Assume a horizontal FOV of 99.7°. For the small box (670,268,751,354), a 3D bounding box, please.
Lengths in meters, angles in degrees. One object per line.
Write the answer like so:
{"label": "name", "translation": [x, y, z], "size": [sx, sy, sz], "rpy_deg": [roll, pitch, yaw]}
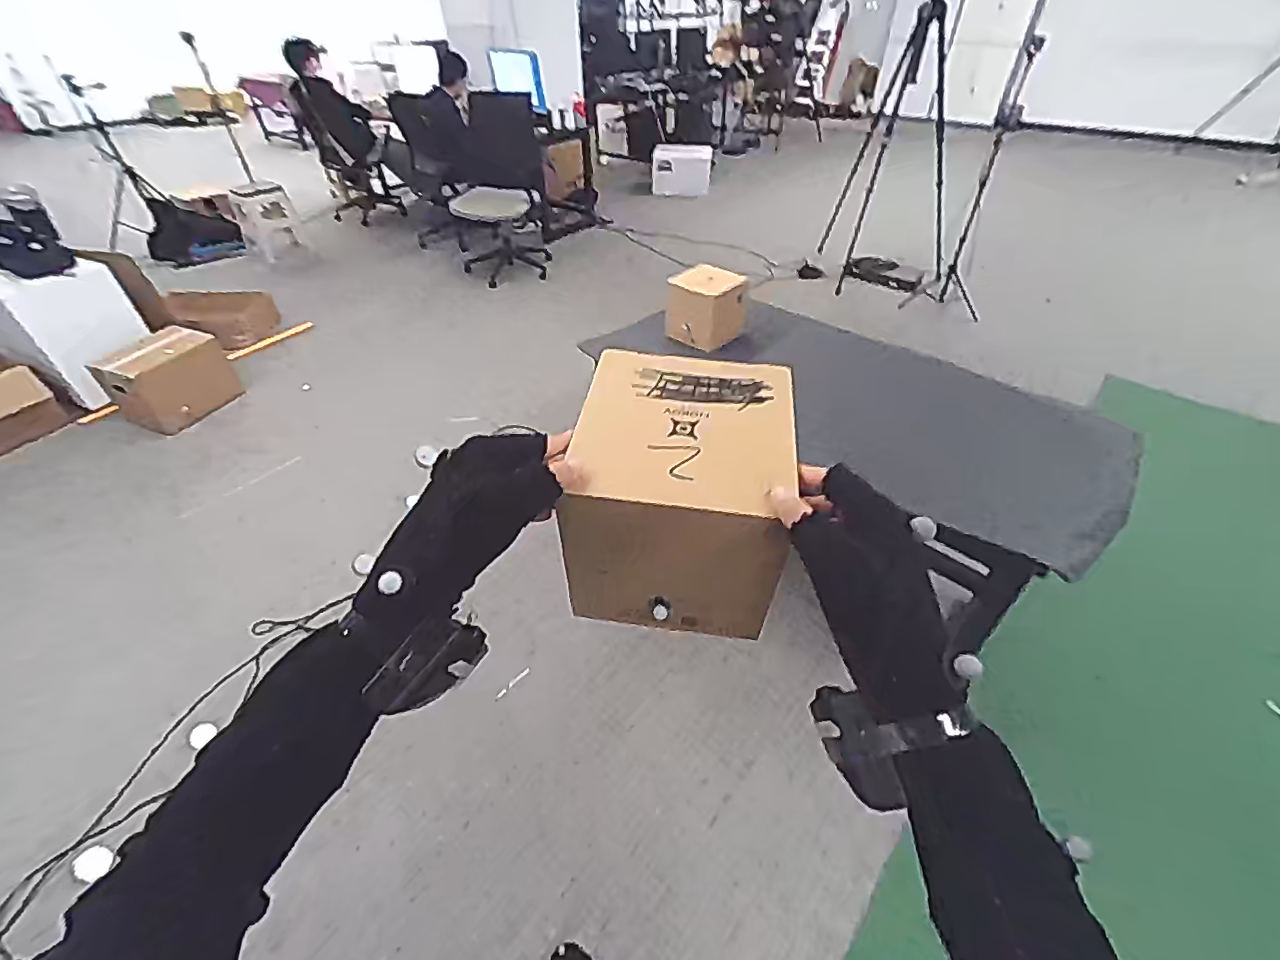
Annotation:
{"label": "small box", "translation": [0.197, -0.490, 1.566], "size": [0.168, 0.176, 0.179], "rpy_deg": [31, 50, 30]}
